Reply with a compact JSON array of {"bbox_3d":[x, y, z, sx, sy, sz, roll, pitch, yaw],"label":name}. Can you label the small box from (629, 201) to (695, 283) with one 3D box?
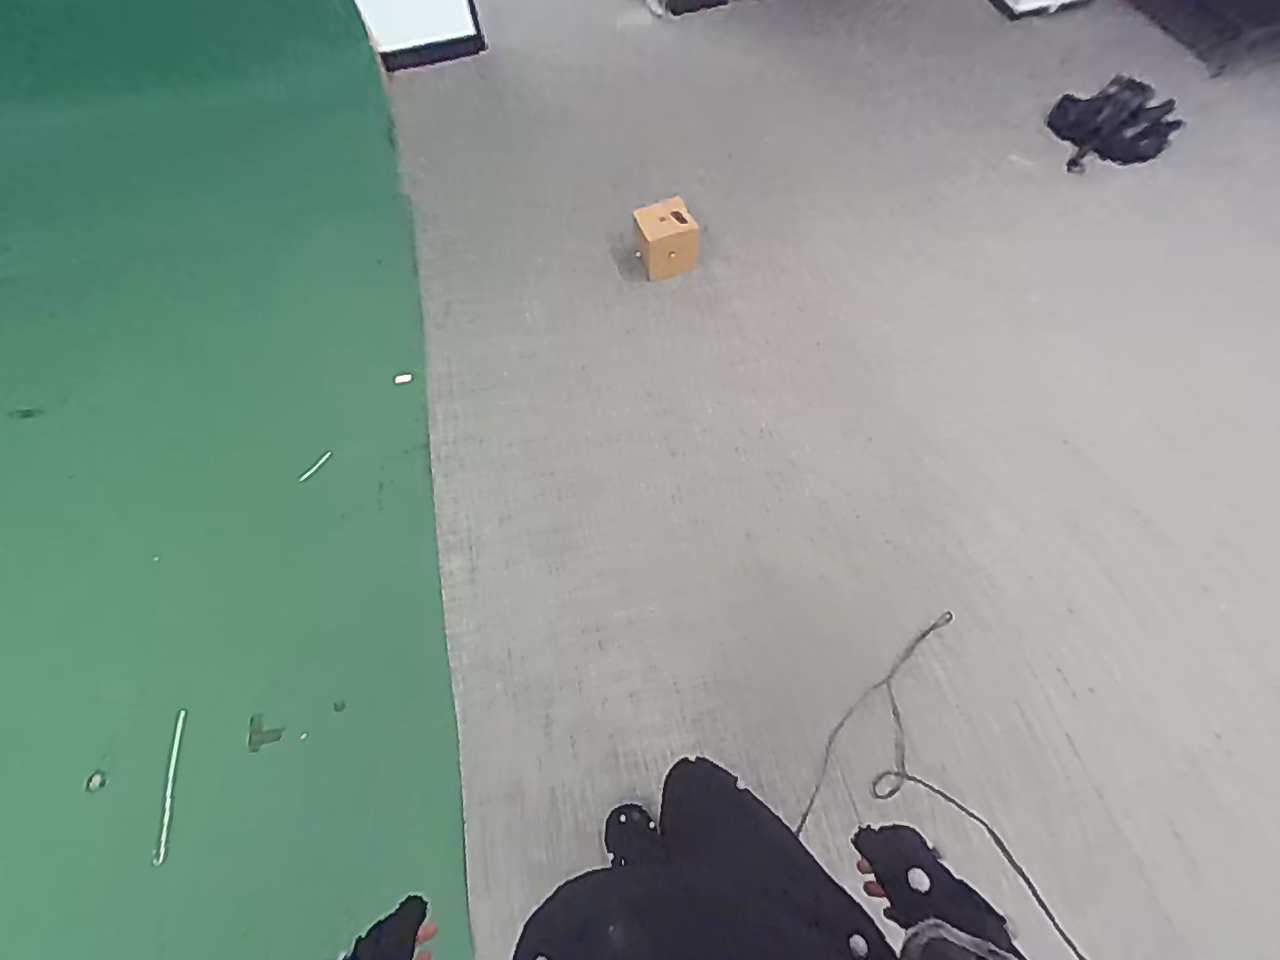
[{"bbox_3d":[0.072,-0.811,1.851,0.179,0.176,0.168,-22,65,-9],"label":"small box"}]
